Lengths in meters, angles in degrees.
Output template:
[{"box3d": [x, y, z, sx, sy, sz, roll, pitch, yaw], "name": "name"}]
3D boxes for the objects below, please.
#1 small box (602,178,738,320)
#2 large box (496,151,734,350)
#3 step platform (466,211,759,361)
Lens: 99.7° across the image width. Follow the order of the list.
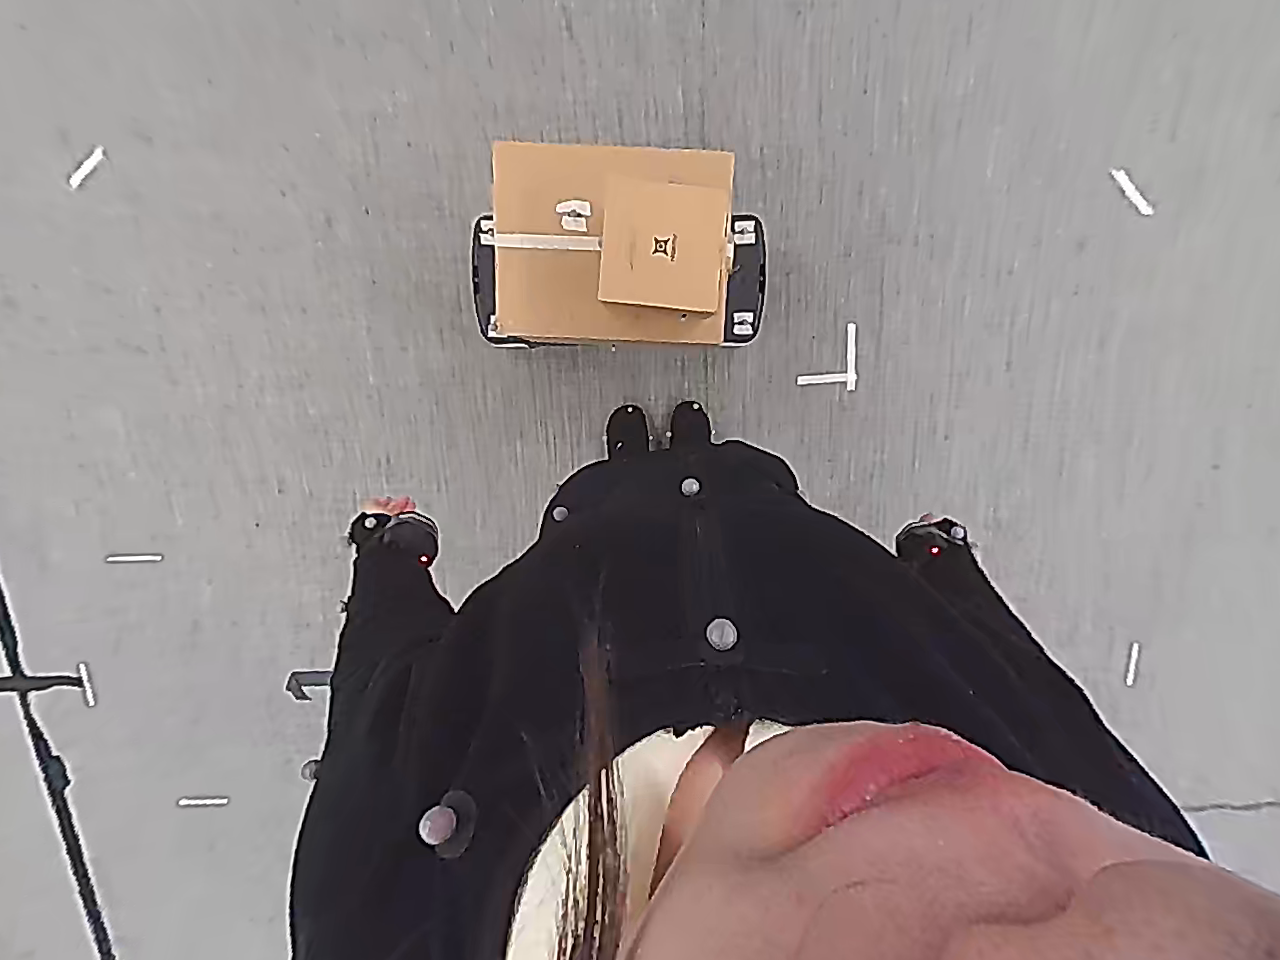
[{"box3d": [0.040, -0.342, 0.832, 0.179, 0.176, 0.168, 6, 102, -1], "name": "small box"}, {"box3d": [-0.041, -0.420, 1.066, 0.408, 0.320, 0.320, 2, 101, 0], "name": "large box"}, {"box3d": [-0.062, -0.456, 1.302, 0.684, 0.204, 0.286, 4, 101, 0], "name": "step platform"}]
